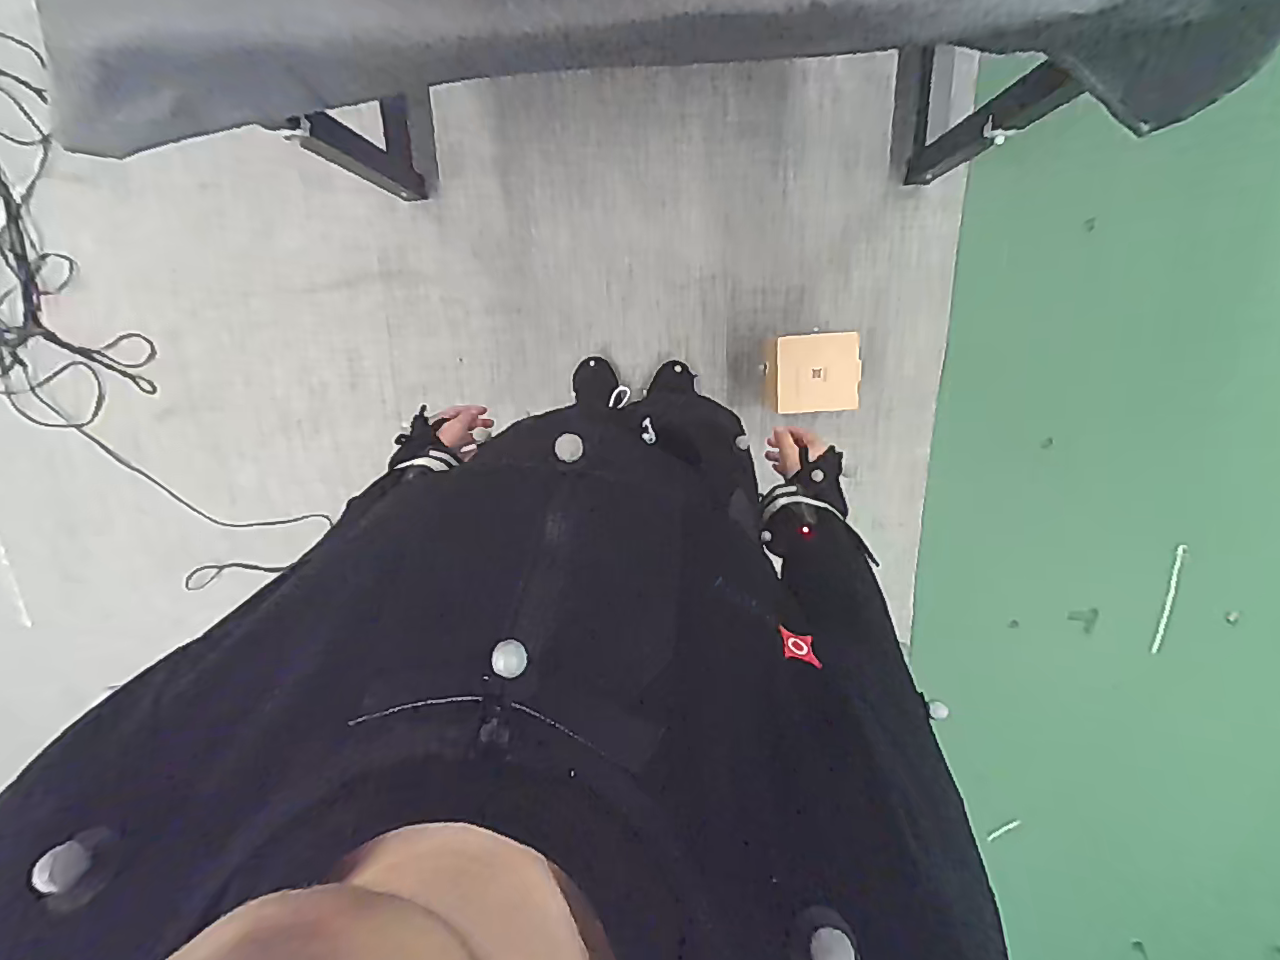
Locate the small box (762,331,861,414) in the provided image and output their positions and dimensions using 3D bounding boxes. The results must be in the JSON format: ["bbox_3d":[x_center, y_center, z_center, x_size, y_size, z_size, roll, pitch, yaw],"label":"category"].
[{"bbox_3d":[0.379,-0.245,1.218,0.179,0.176,0.168,-4,104,4],"label":"small box"}]
